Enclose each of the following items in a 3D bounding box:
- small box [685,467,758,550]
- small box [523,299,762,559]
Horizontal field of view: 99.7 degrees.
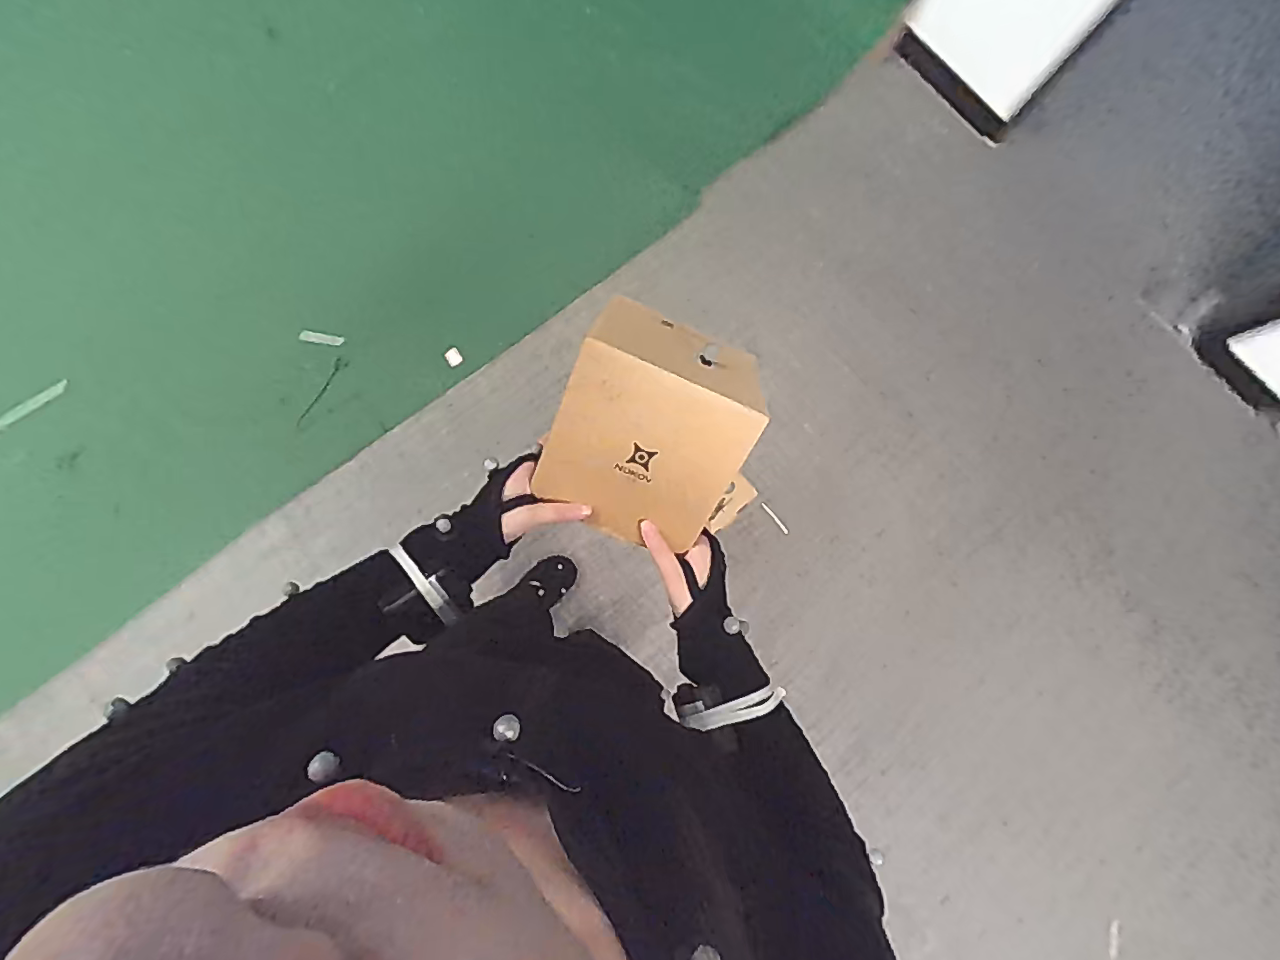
[{"bbox_3d":[0.113,0.029,1.137,0.168,0.176,0.179,-40,85,-9],"label":"small box"},{"bbox_3d":[0.002,-0.059,0.548,0.168,0.176,0.179,23,122,-7],"label":"small box"}]
